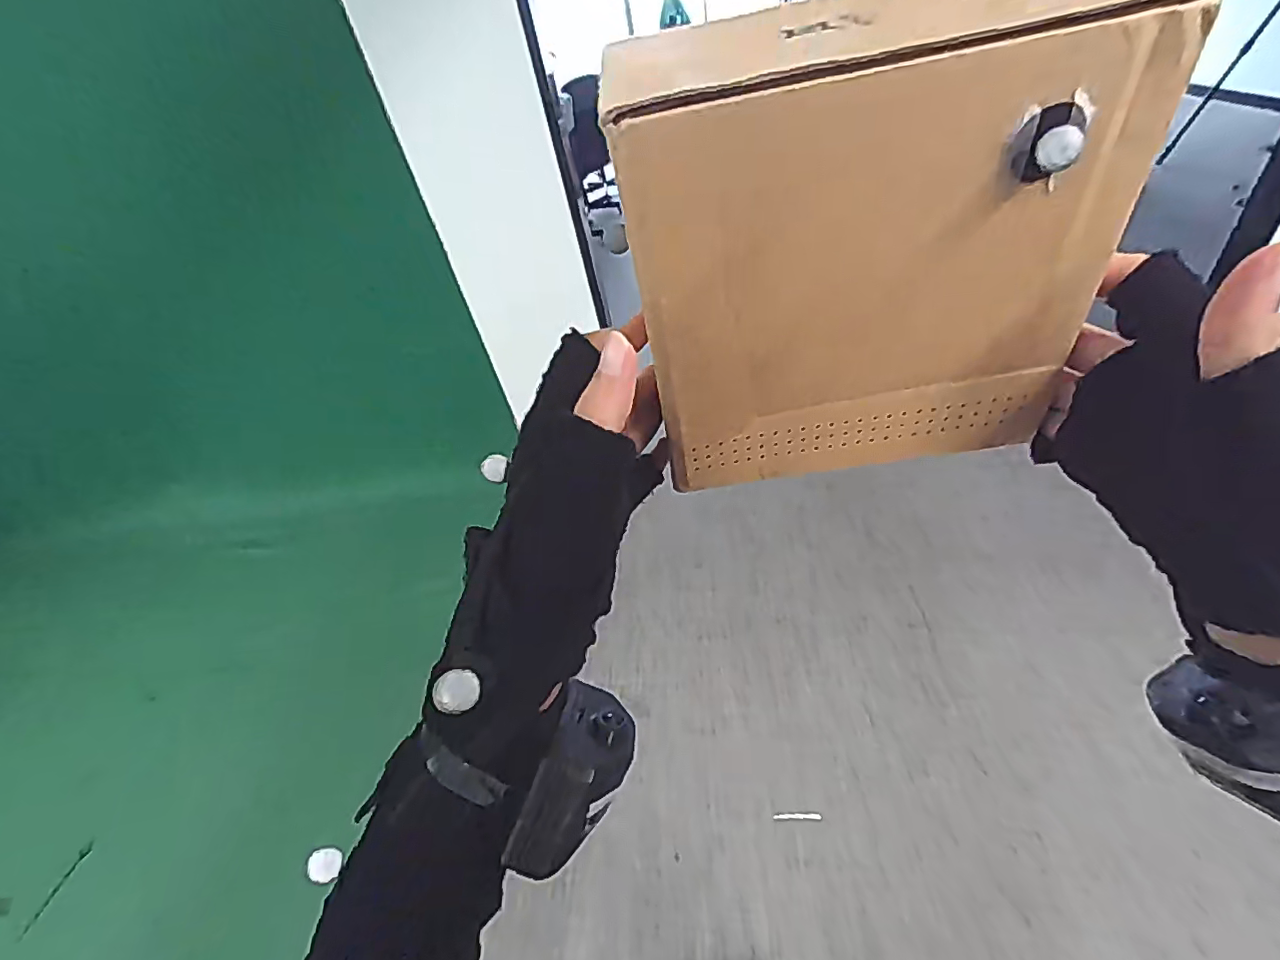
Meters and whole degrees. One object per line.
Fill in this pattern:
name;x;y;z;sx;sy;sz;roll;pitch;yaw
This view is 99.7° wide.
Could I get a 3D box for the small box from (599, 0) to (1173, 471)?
small box;0.083;-0.121;0.276;0.179;0.176;0.168;-8;44;5
